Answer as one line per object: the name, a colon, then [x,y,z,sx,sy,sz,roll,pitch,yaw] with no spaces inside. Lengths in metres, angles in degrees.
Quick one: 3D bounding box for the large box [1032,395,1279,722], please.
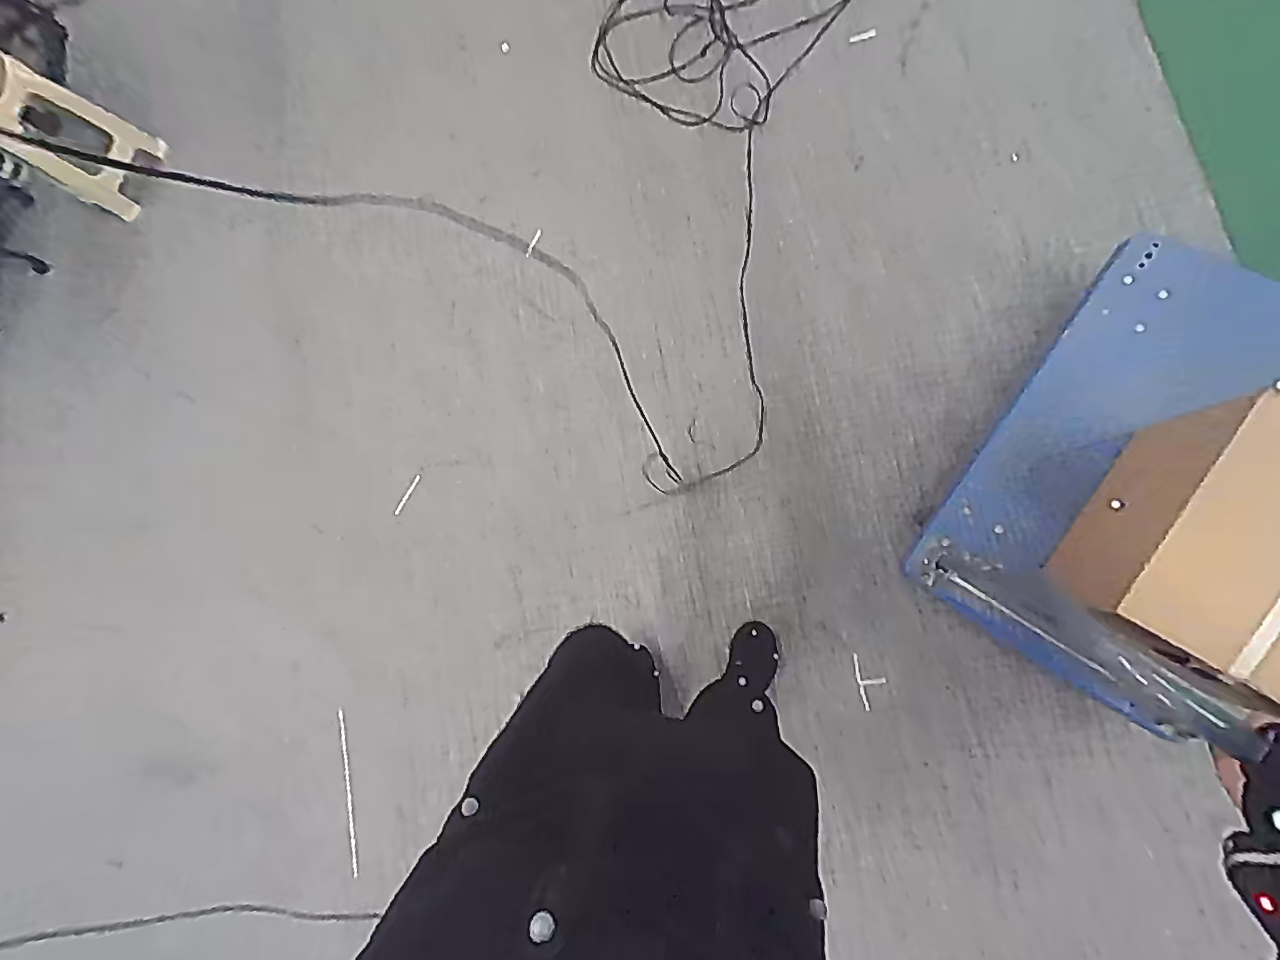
large box: [0.978,0.137,0.912,0.320,0.320,0.408,33,91,15]
